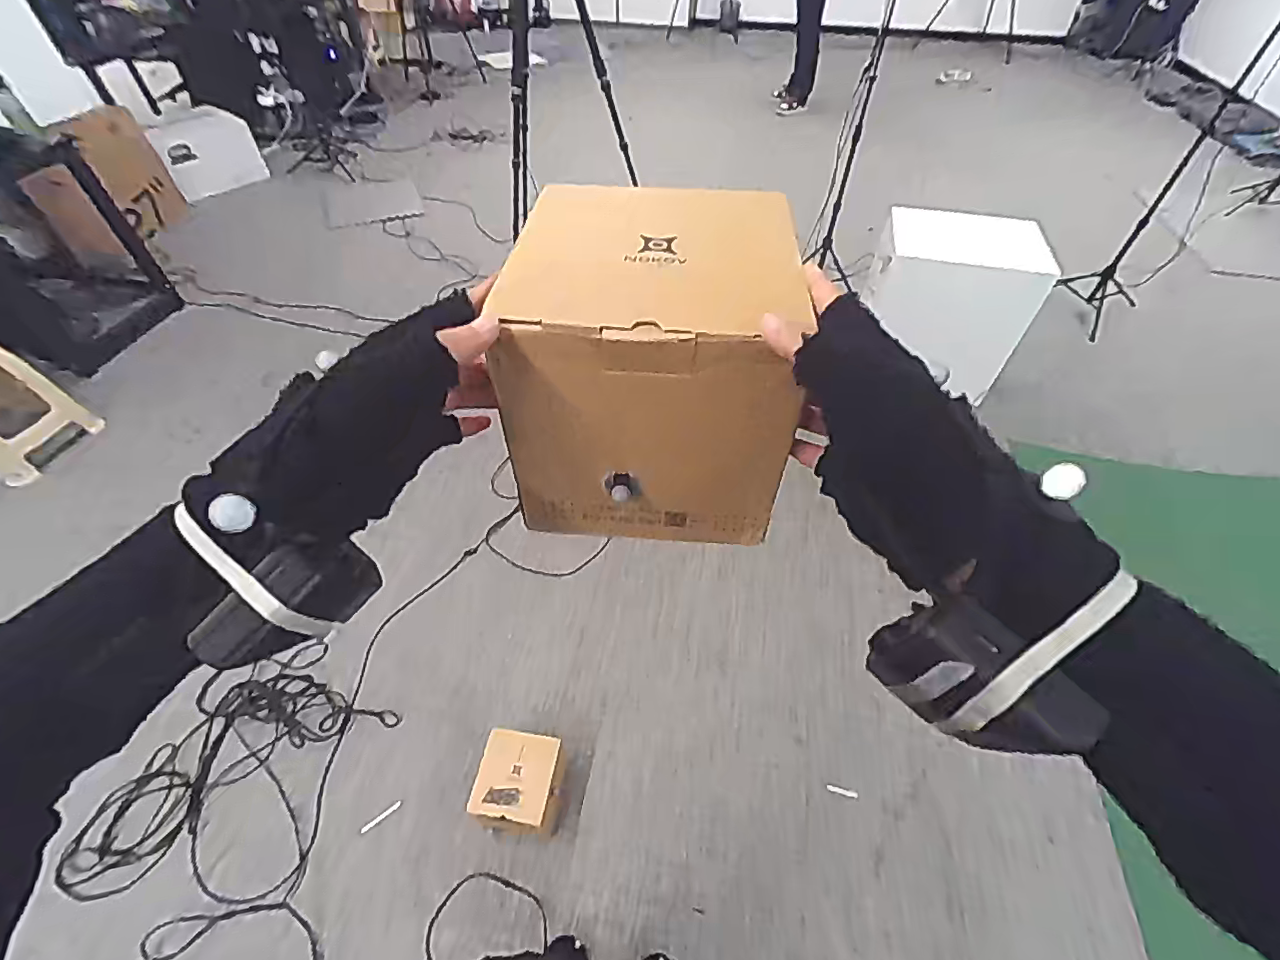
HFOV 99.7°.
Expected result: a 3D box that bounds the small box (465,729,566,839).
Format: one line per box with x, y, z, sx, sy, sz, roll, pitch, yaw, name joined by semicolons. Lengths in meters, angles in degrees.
-0.271;0.696;1.232;0.168;0.176;0.179;7;49;6;small box
